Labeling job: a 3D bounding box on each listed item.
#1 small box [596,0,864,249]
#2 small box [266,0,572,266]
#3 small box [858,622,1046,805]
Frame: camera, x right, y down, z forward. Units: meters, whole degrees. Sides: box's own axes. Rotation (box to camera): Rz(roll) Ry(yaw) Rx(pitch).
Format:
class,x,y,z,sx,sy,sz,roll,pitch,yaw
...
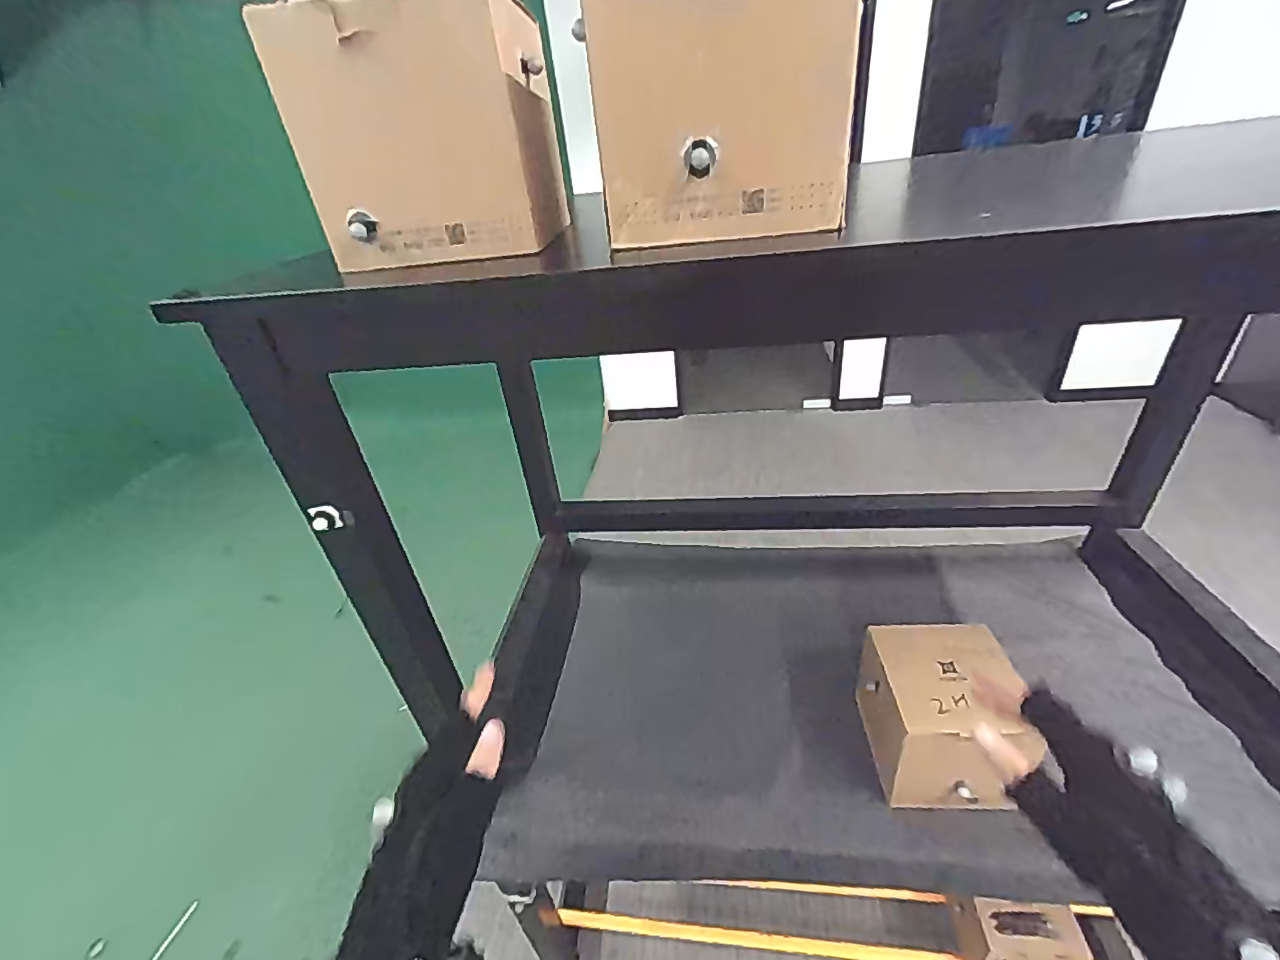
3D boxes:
class,x,y,z,sx,sy,sz,roll,pitch,yaw
small box,0.065,-0.287,0.427,0.168,0.176,0.179,-2,32,8
small box,-0.159,-0.286,0.465,0.168,0.176,0.179,-3,31,4
small box,0.418,0.323,0.764,0.168,0.176,0.179,-3,31,7
